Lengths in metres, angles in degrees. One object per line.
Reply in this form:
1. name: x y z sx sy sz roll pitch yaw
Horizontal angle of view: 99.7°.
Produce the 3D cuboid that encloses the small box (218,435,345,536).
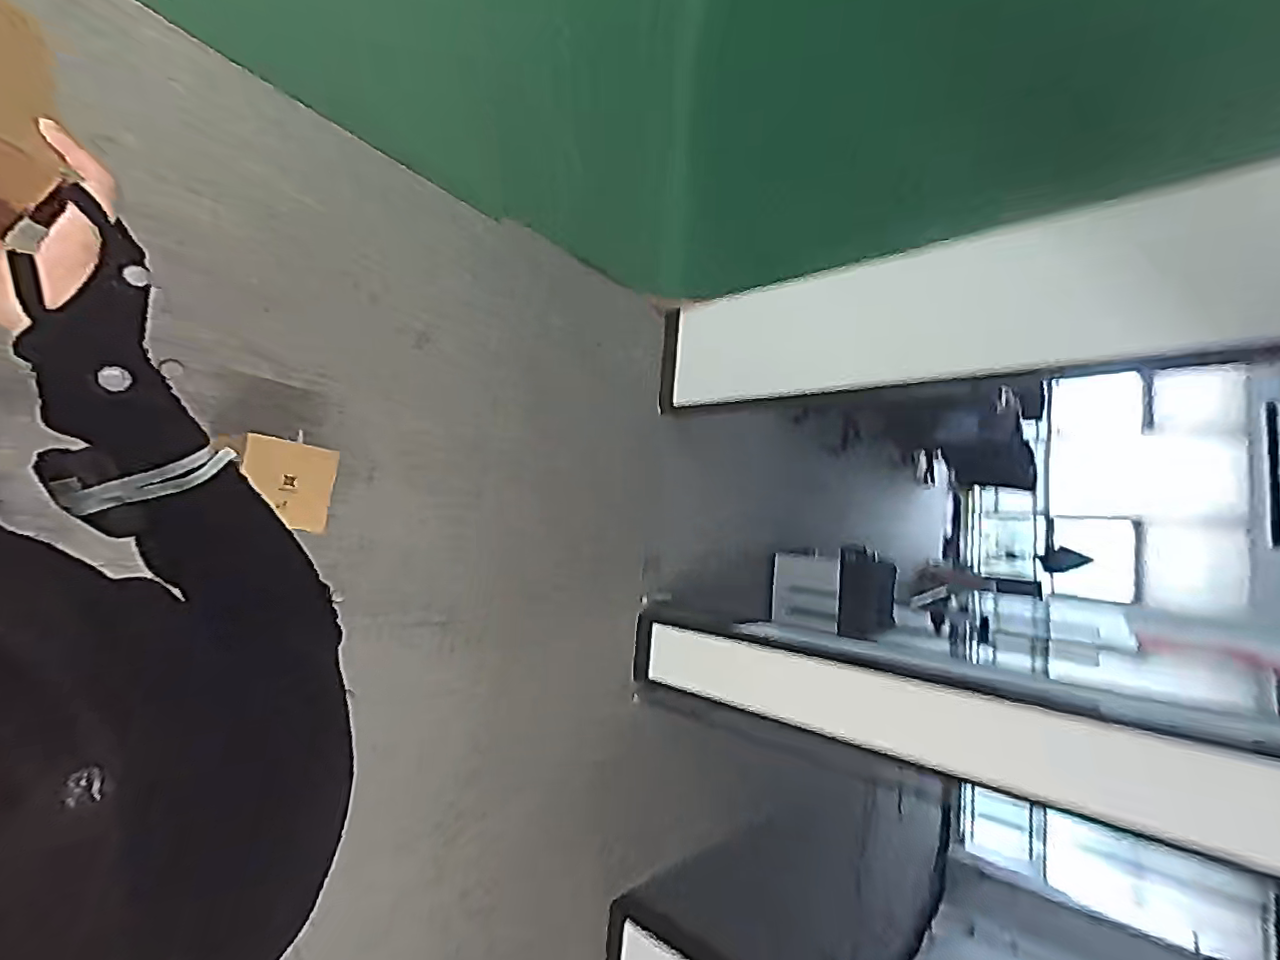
1. small box: -0.749 0.015 1.128 0.168 0.176 0.179 18 77 -47
